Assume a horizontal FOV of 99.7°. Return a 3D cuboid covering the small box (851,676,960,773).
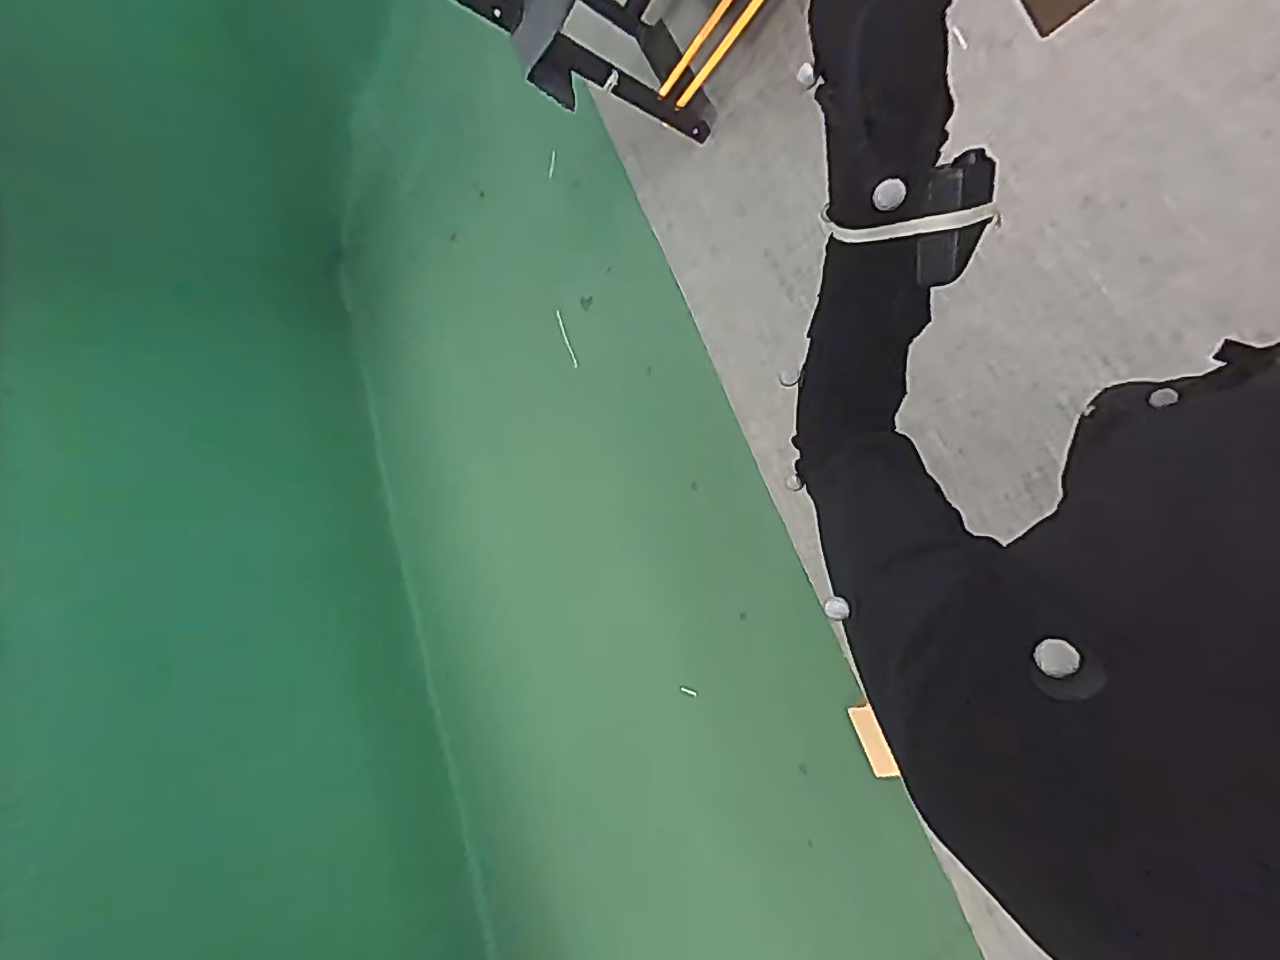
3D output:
[{"bbox_3d":[0.693,0.633,1.405,0.168,0.176,0.179,-36,67,41],"label":"small box"}]
